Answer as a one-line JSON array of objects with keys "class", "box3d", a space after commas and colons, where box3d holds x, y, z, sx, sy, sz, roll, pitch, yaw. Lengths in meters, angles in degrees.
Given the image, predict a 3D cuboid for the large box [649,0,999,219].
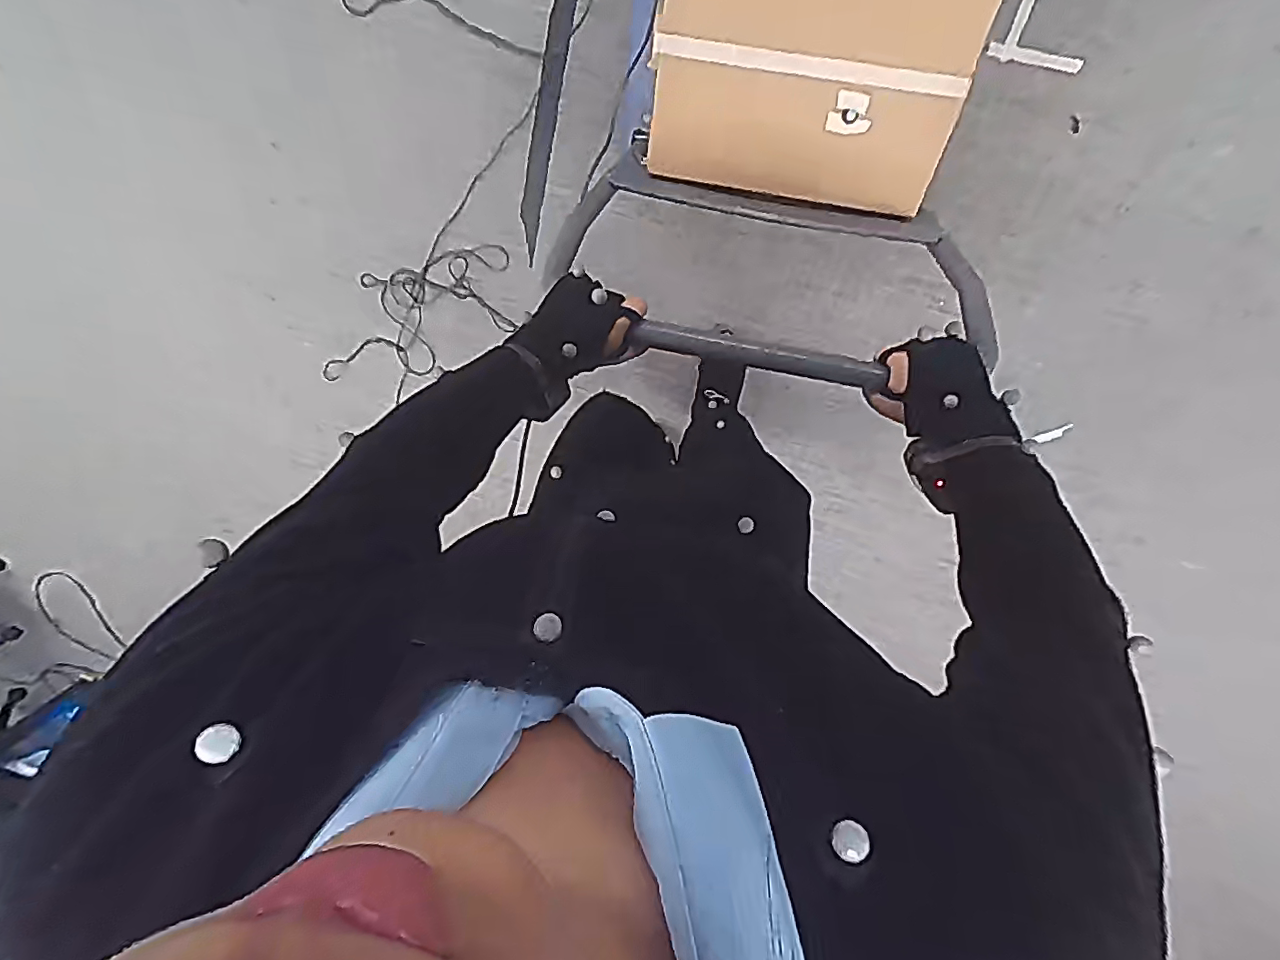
[{"class": "large box", "box3d": [0.243, -0.623, 0.826, 0.408, 0.320, 0.320, 11, 129, 3]}]
